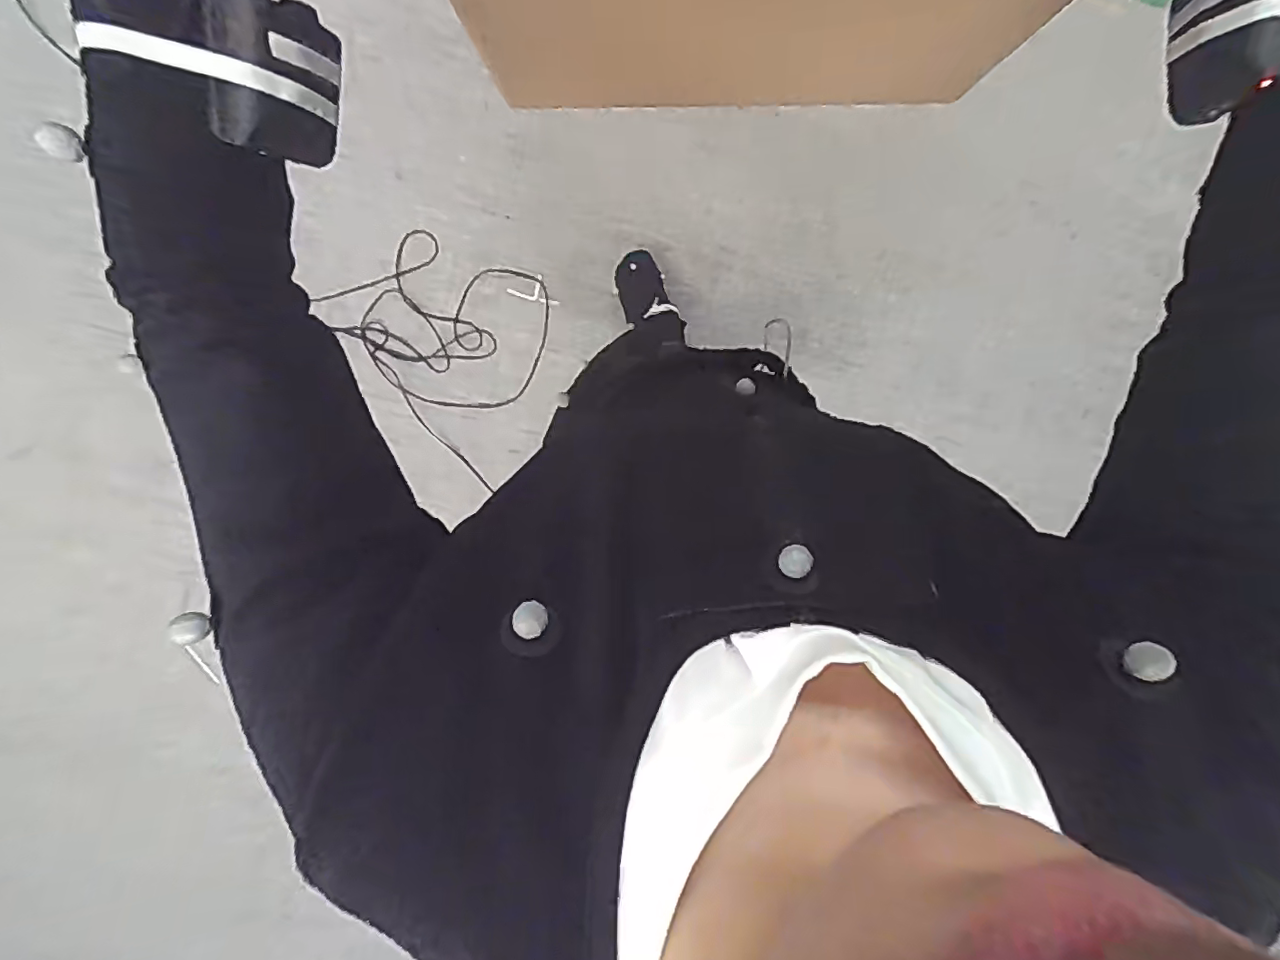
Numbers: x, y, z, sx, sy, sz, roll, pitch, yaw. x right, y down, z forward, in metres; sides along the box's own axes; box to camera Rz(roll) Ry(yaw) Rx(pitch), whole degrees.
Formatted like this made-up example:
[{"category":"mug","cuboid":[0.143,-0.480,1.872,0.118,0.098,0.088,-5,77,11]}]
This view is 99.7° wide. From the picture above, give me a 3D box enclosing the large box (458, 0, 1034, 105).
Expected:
[{"category":"large box","cuboid":[0.071,-0.462,0.310,0.408,0.320,0.320,-1,102,1]}]
